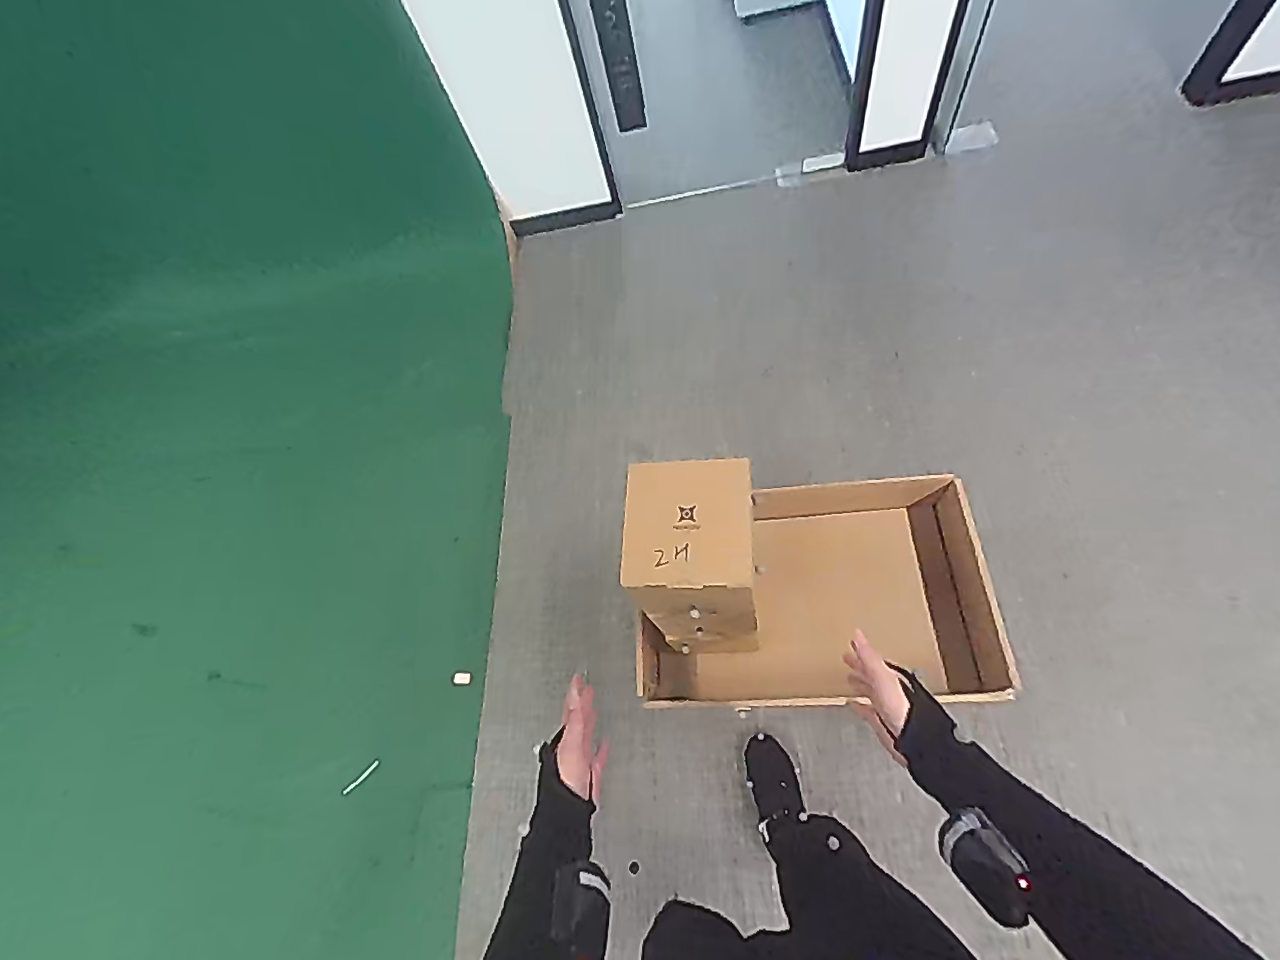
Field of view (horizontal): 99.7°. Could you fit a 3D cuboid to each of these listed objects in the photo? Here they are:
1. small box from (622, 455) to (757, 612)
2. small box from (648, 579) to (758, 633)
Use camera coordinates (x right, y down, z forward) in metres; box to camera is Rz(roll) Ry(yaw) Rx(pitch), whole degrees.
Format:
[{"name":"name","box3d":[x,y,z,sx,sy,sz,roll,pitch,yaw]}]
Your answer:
[{"name":"small box","box3d":[0.079,0.079,0.766,0.168,0.176,0.179,-1,65,13]},{"name":"small box","box3d":[0.111,0.152,0.912,0.168,0.176,0.179,-3,64,11]}]
